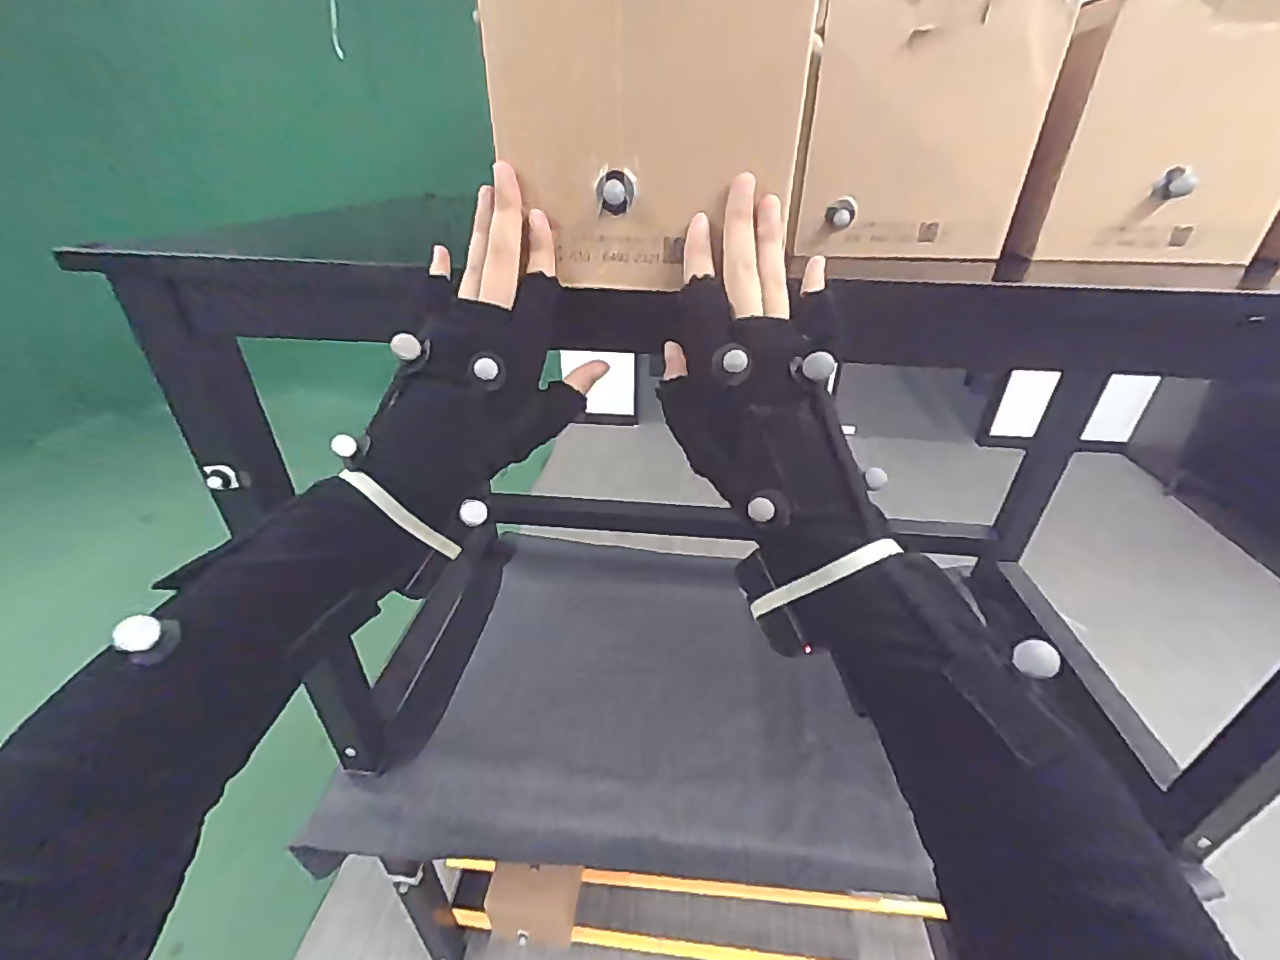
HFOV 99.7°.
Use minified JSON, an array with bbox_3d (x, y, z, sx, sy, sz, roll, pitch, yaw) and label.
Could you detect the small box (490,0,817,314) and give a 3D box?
[{"bbox_3d":[0.011,-0.223,0.366,0.168,0.176,0.179,4,33,5],"label":"small box"}]
